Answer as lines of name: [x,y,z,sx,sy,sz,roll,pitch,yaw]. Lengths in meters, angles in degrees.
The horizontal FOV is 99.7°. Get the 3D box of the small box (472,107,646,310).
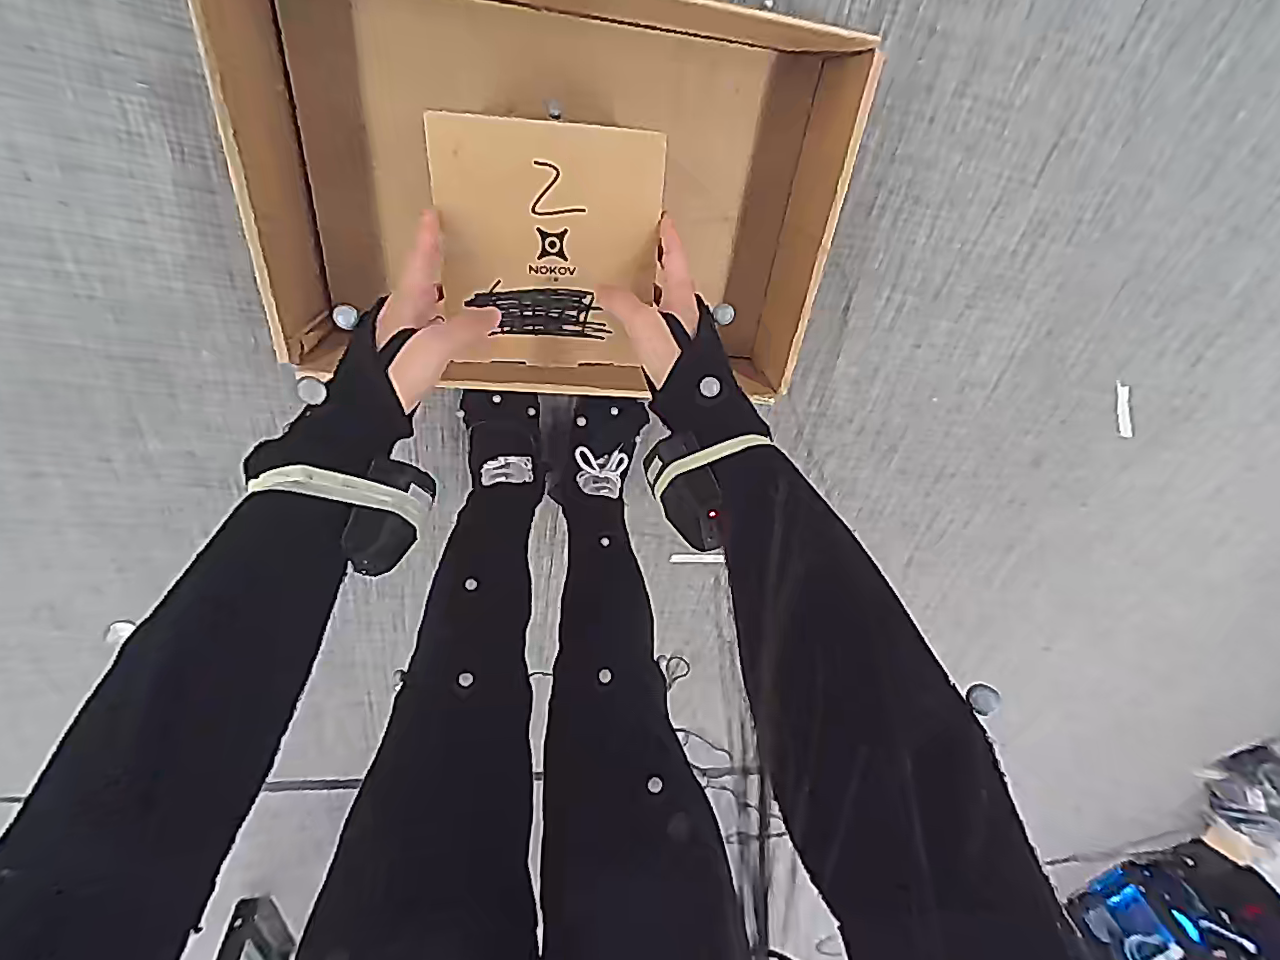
small box: [-0.094,-0.309,0.615,0.168,0.176,0.179,0,124,-10]
